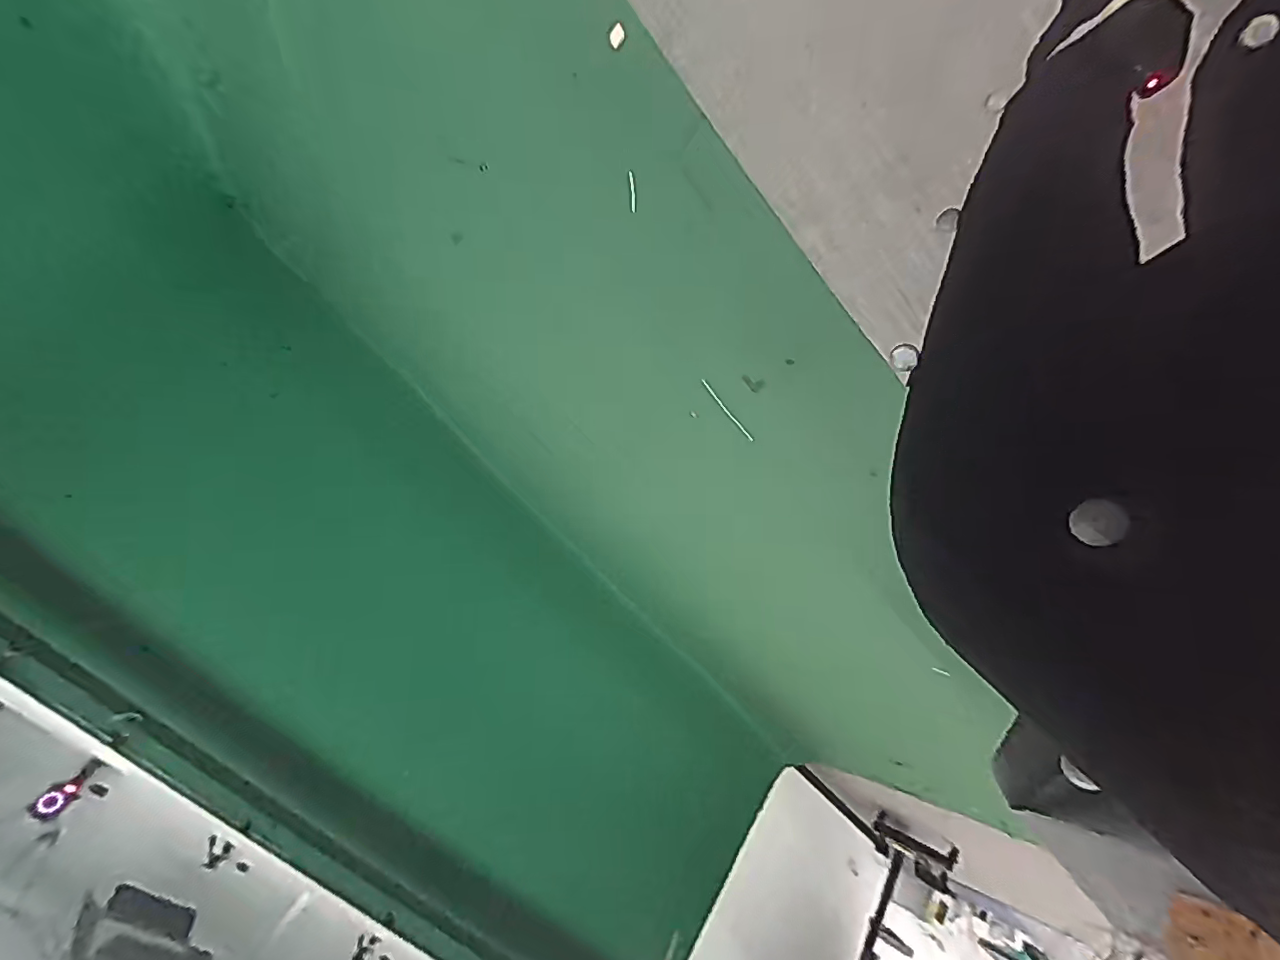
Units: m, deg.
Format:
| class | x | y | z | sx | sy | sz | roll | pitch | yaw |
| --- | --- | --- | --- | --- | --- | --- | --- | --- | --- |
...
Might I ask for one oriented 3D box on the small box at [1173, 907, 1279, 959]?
| class | x | y | z | sx | sy | sz | roll | pitch | yaw |
| --- | --- | --- | --- | --- | --- | --- | --- | --- | --- |
| small box | 1.198 | 1.002 | 1.068 | 0.179 | 0.176 | 0.168 | 44 | 154 | -11 |
